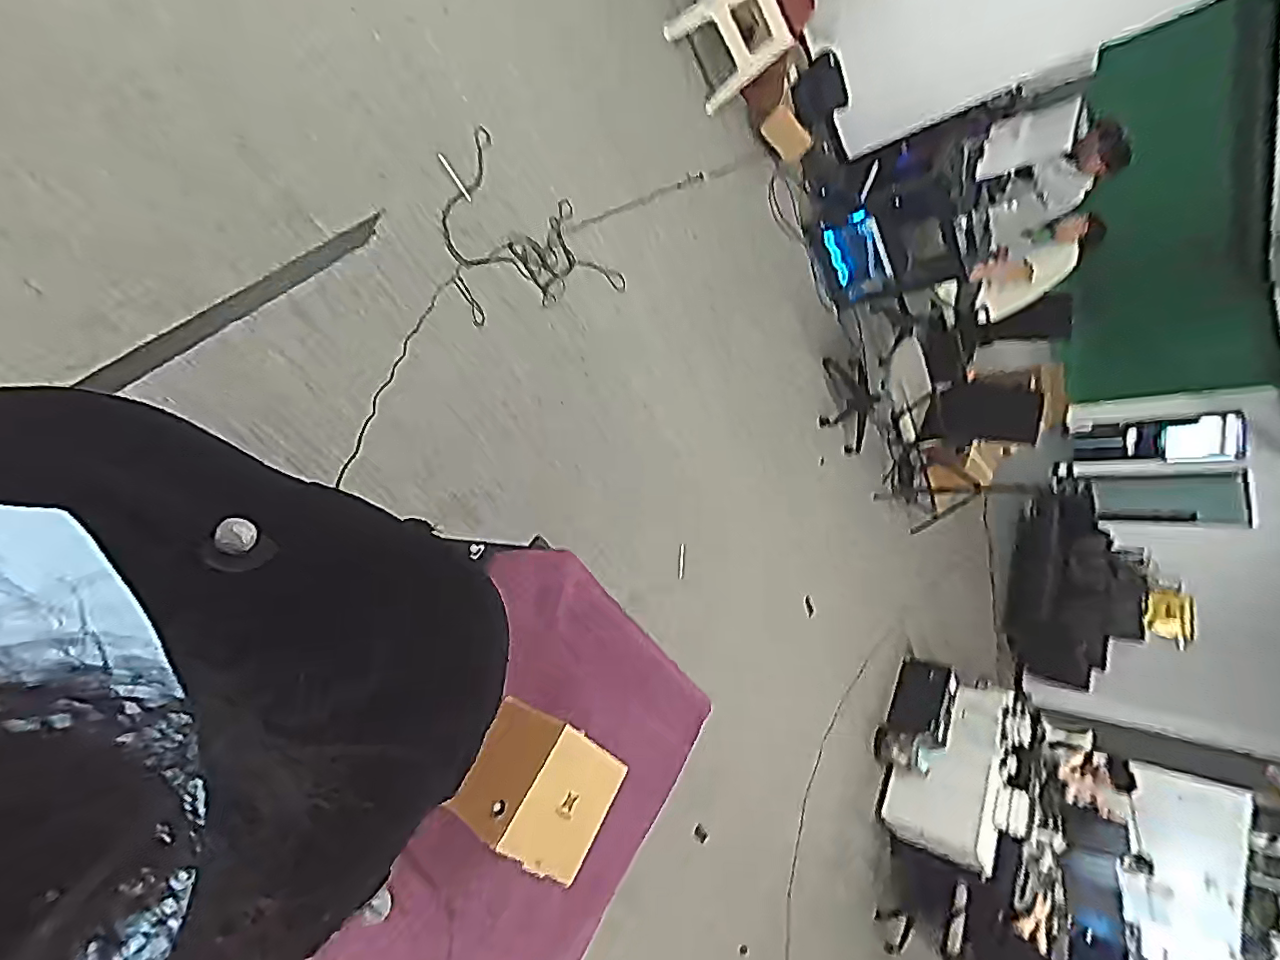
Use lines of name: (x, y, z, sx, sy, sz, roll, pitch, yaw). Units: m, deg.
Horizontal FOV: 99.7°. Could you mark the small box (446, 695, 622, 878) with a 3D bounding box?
small box: (-0.167, 0.467, 0.848, 0.168, 0.176, 0.179, 51, 56, -31)
